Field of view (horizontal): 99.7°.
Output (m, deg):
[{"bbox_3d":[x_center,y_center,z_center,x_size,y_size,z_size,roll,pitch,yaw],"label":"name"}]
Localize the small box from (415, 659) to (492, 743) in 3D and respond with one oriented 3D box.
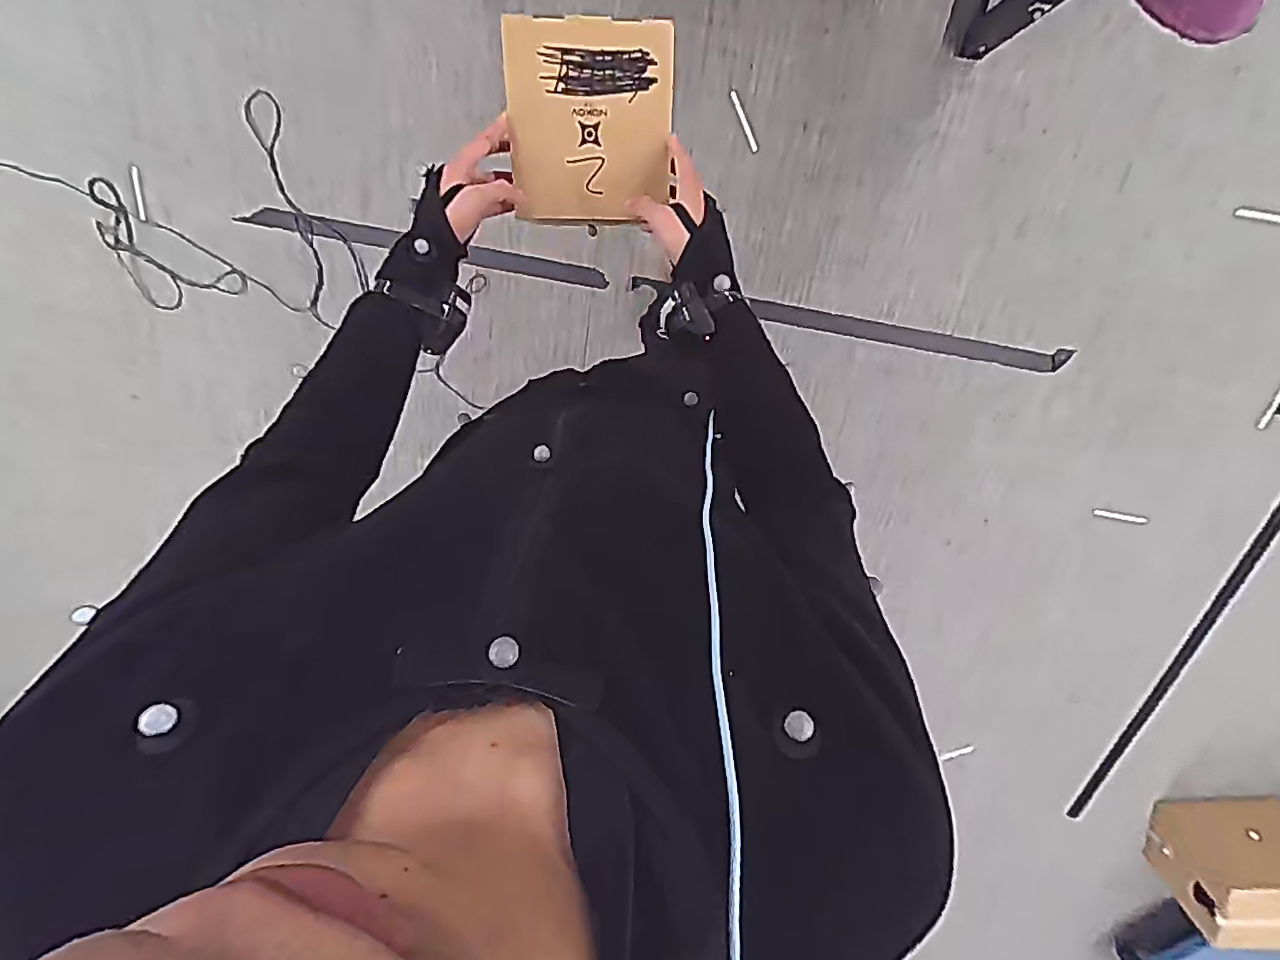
[{"bbox_3d":[-0.599,0.707,1.745,0.179,0.176,0.168,13,111,1],"label":"small box"}]
